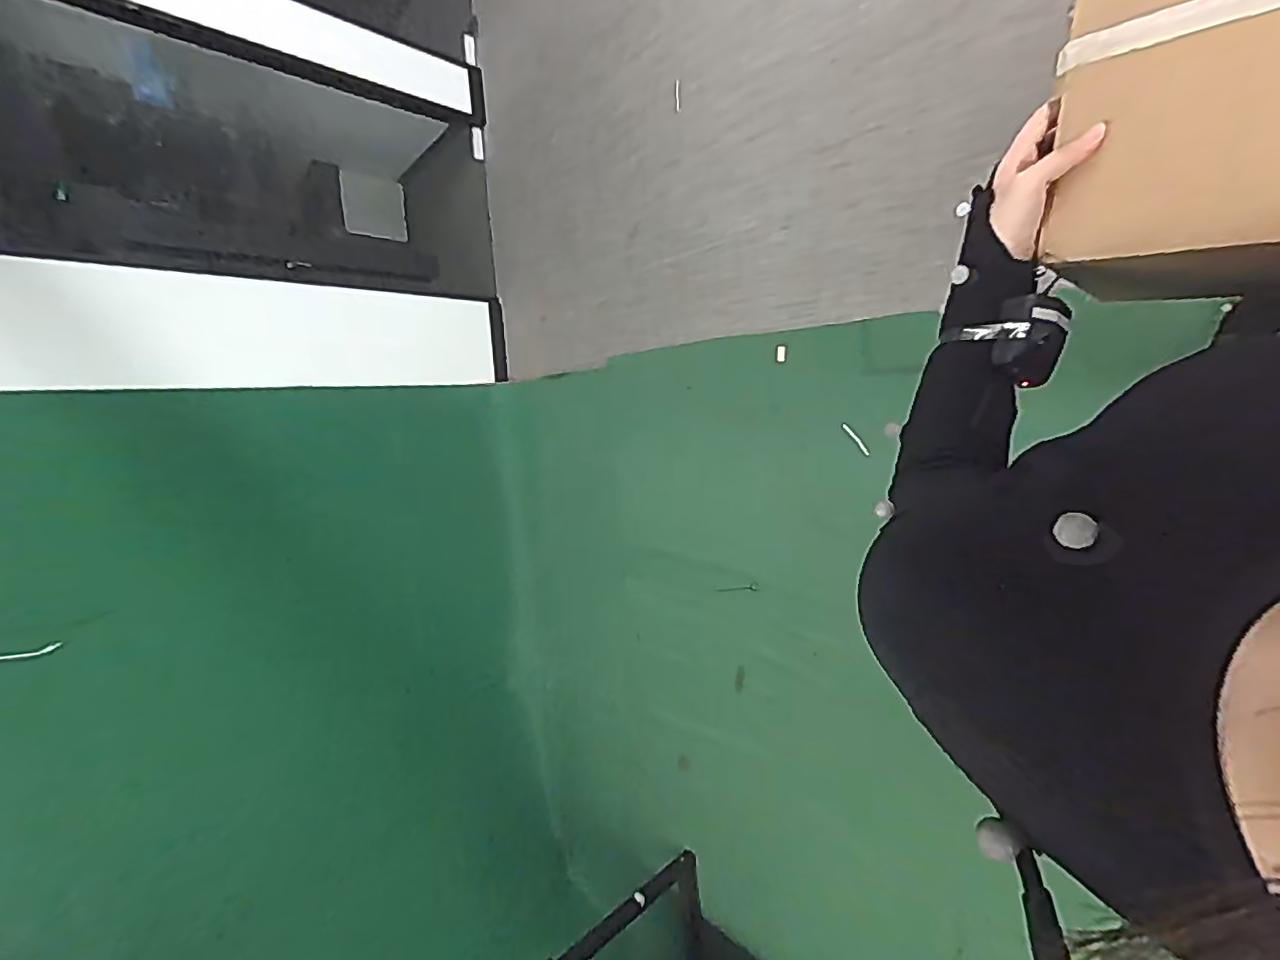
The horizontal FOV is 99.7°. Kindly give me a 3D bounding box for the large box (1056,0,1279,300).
[{"bbox_3d":[0.592,-0.324,0.389,0.408,0.320,0.320,13,106,45],"label":"large box"}]
